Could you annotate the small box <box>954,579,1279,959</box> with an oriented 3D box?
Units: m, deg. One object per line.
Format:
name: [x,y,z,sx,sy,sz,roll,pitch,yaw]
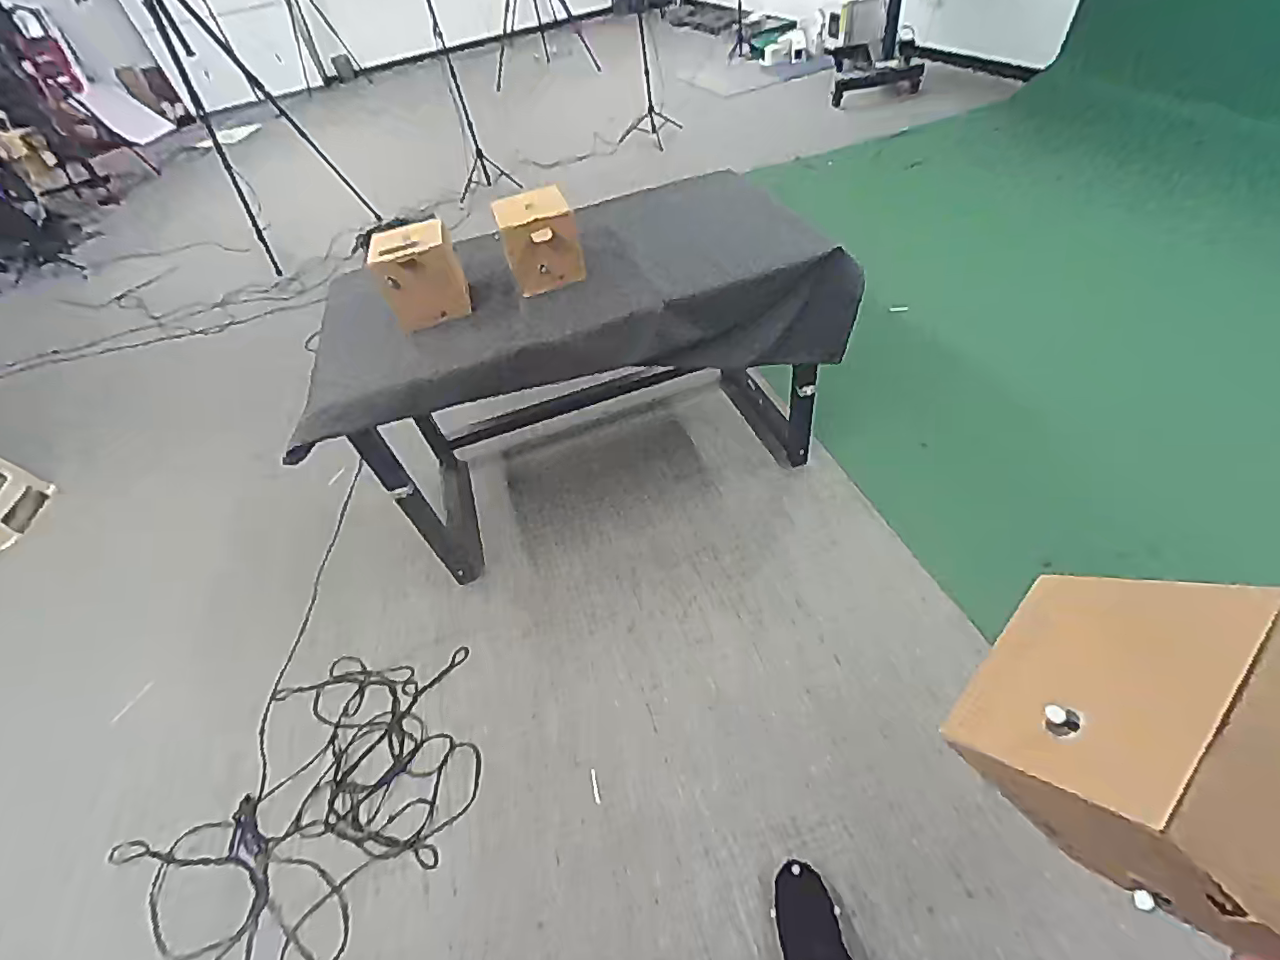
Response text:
small box: [0.371,0.190,0.389,0.168,0.176,0.179,43,75,-5]

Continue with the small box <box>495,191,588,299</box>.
small box: [-0.235,-0.564,1.303,0.168,0.176,0.179,-19,48,-6]
